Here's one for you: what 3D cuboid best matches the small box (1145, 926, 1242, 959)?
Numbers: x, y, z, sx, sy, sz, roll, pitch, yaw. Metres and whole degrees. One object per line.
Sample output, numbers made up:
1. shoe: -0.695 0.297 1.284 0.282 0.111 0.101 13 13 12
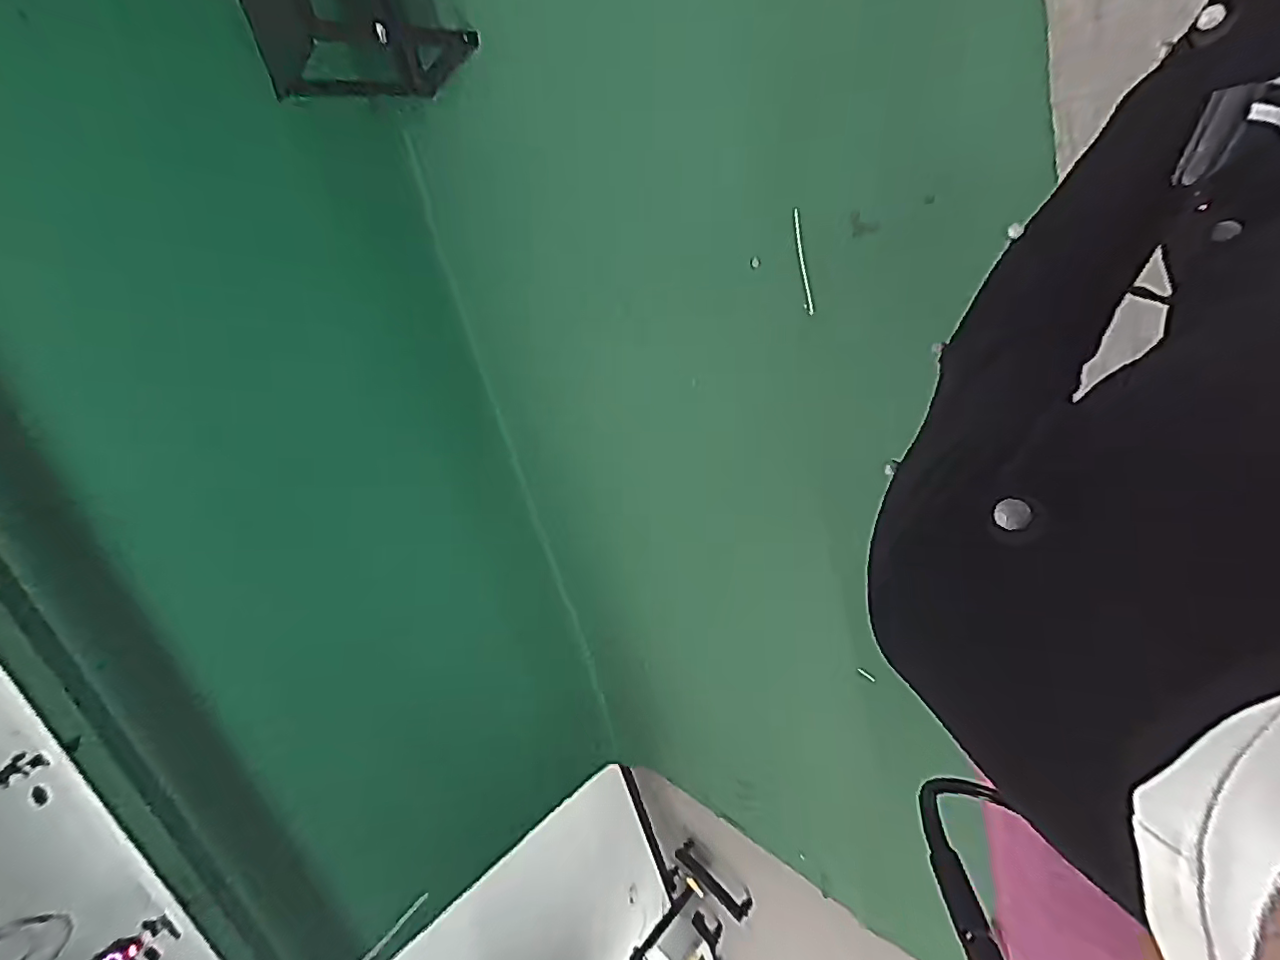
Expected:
1. small box: 0.909 0.865 0.853 0.179 0.176 0.168 8 118 46
